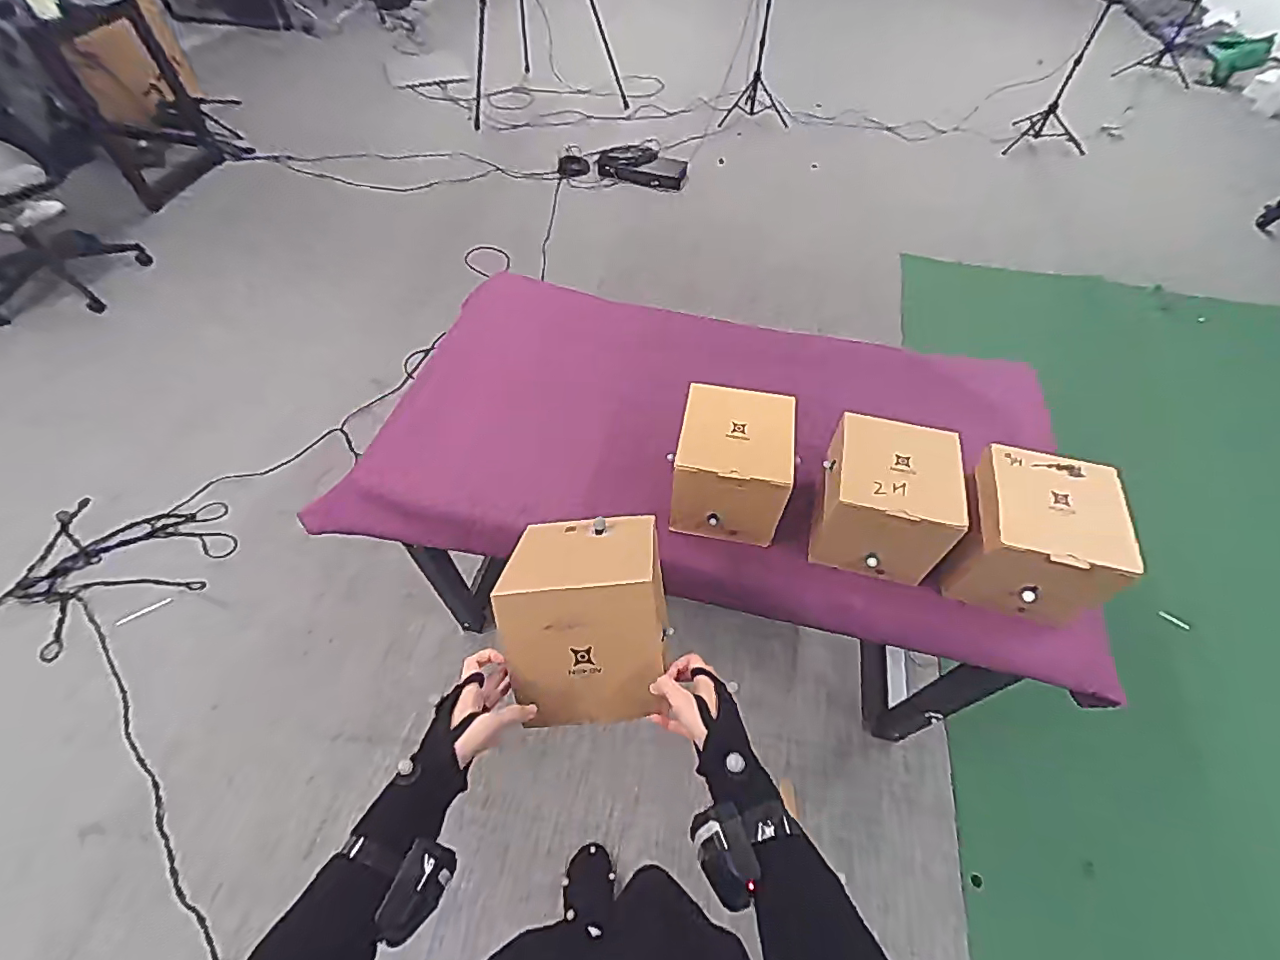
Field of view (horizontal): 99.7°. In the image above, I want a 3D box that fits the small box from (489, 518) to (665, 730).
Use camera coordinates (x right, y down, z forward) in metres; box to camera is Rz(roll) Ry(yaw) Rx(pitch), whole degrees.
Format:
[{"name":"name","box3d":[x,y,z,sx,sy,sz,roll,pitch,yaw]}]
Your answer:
[{"name":"small box","box3d":[-0.058,0.161,0.635,0.168,0.179,0.176,-5,19,4]}]
